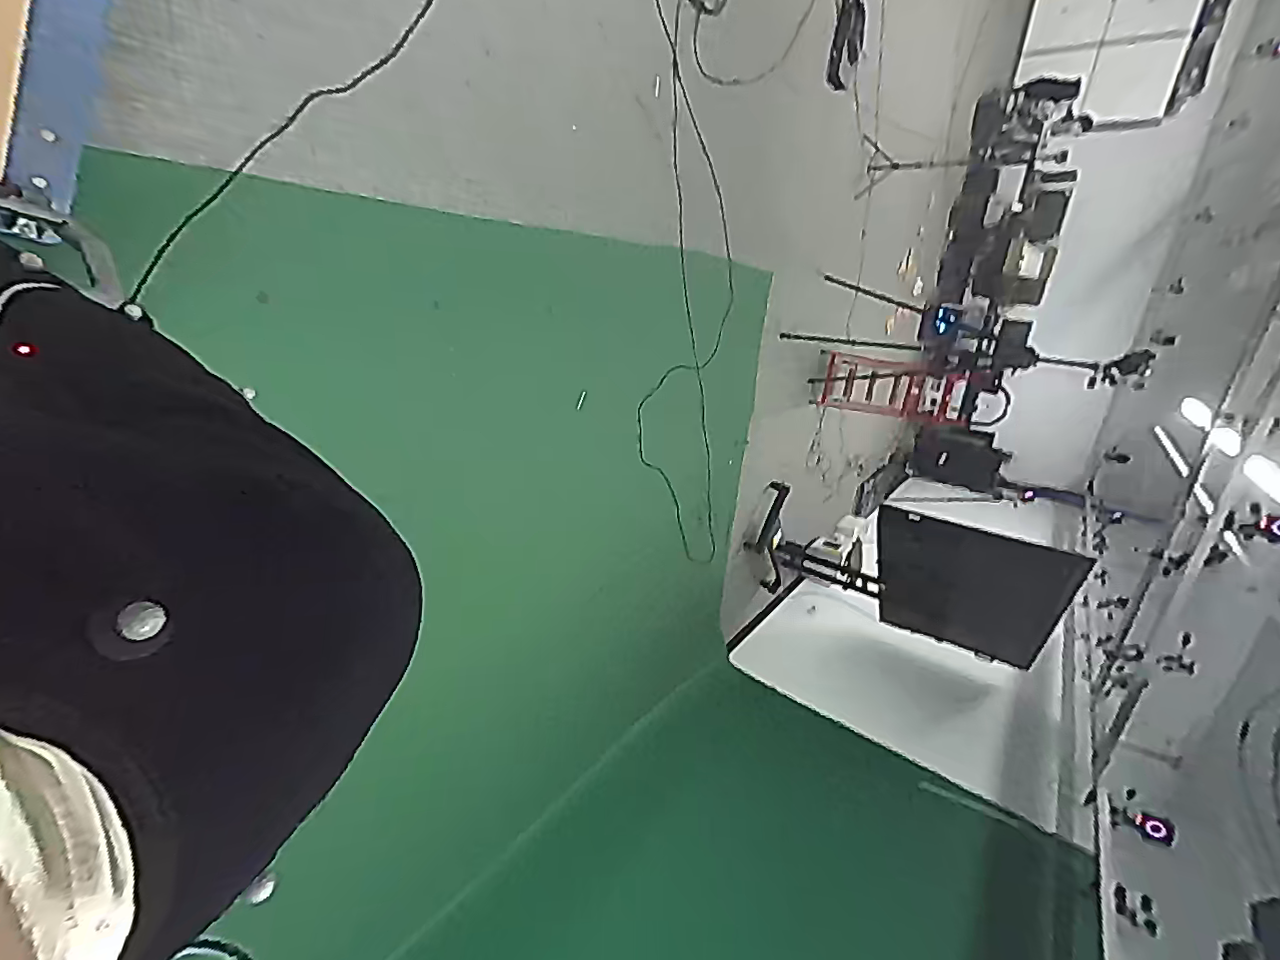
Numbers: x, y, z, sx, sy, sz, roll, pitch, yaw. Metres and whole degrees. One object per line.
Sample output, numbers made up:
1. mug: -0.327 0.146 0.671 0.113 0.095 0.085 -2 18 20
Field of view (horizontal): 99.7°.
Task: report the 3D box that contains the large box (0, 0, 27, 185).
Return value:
1. large box: -1.005 -0.631 0.661 0.320 0.320 0.408 5 103 -56
